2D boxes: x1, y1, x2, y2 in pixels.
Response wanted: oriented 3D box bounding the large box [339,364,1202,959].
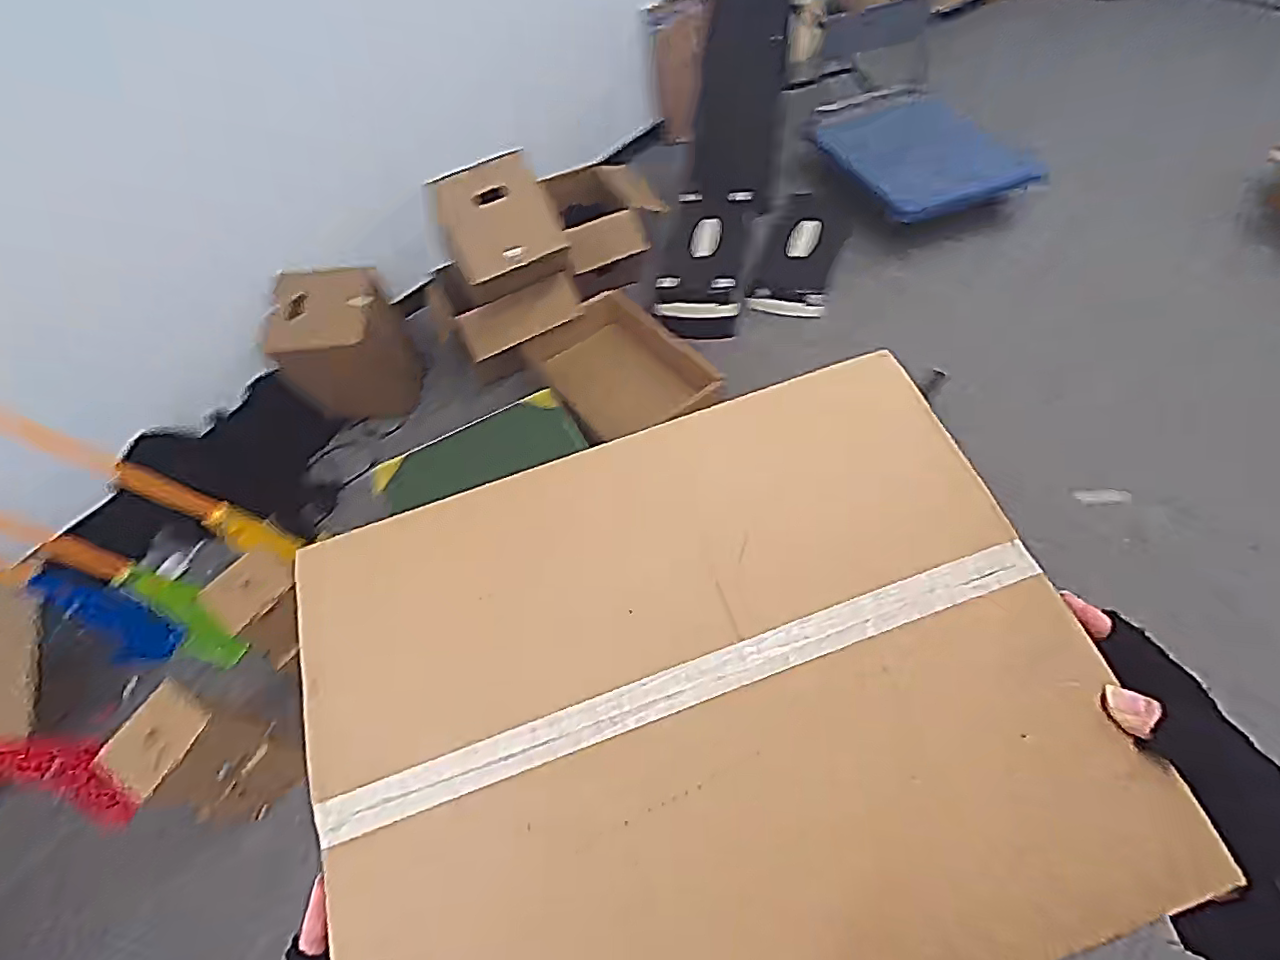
[{"bbox_3d":[0.047,0.173,0.441,0.408,0.320,0.320,-19,67,-3],"label":"large box"}]
